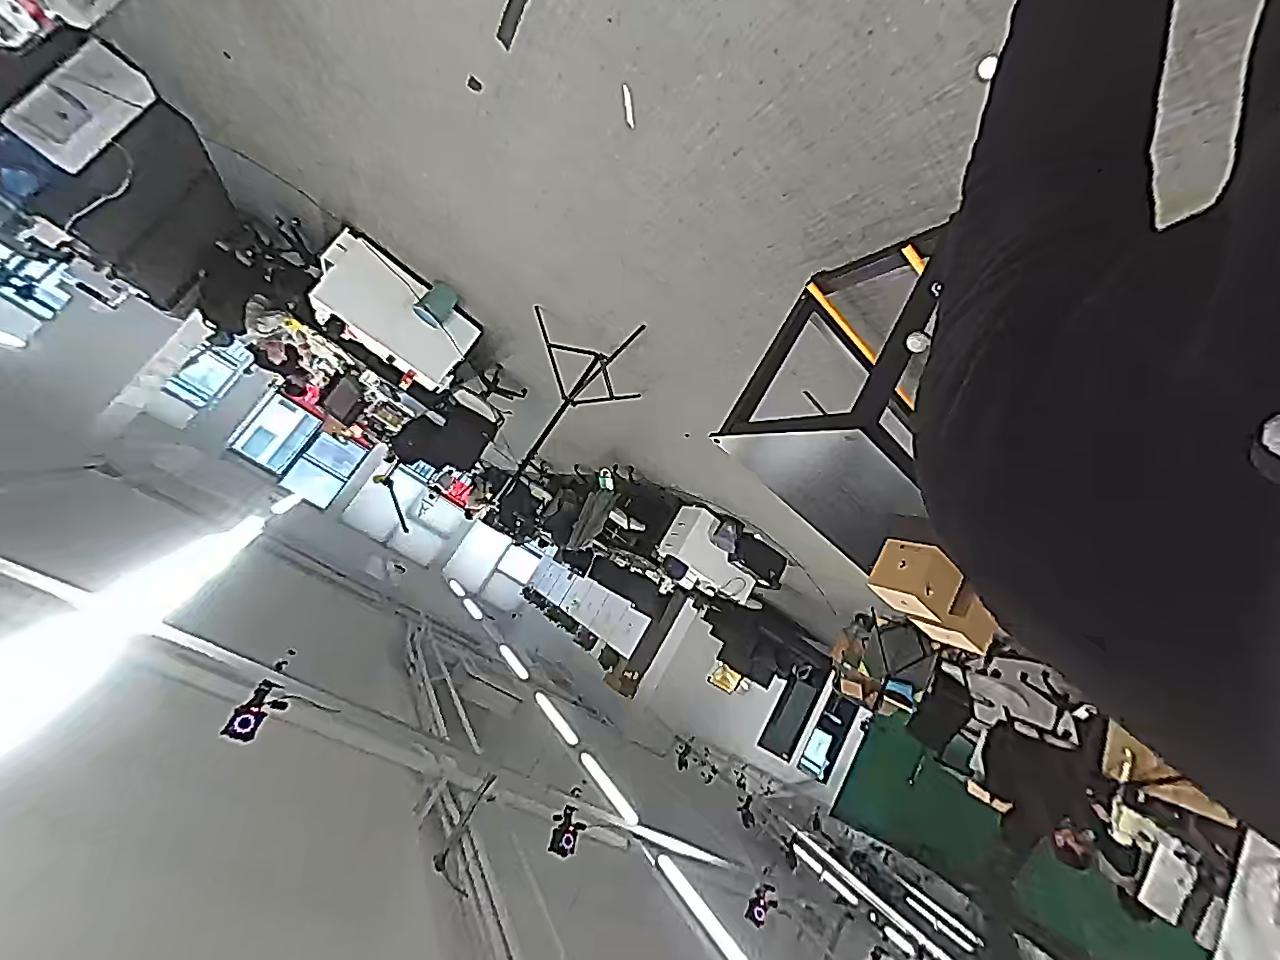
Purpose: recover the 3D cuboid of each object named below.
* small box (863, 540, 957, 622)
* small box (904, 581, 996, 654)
[{"bbox_3d":[0.826,0.301,1.650,0.179,0.176,0.168,38,166,-25],"label":"small box"},{"bbox_3d":[0.992,0.422,1.728,0.168,0.176,0.179,36,165,-24],"label":"small box"}]
